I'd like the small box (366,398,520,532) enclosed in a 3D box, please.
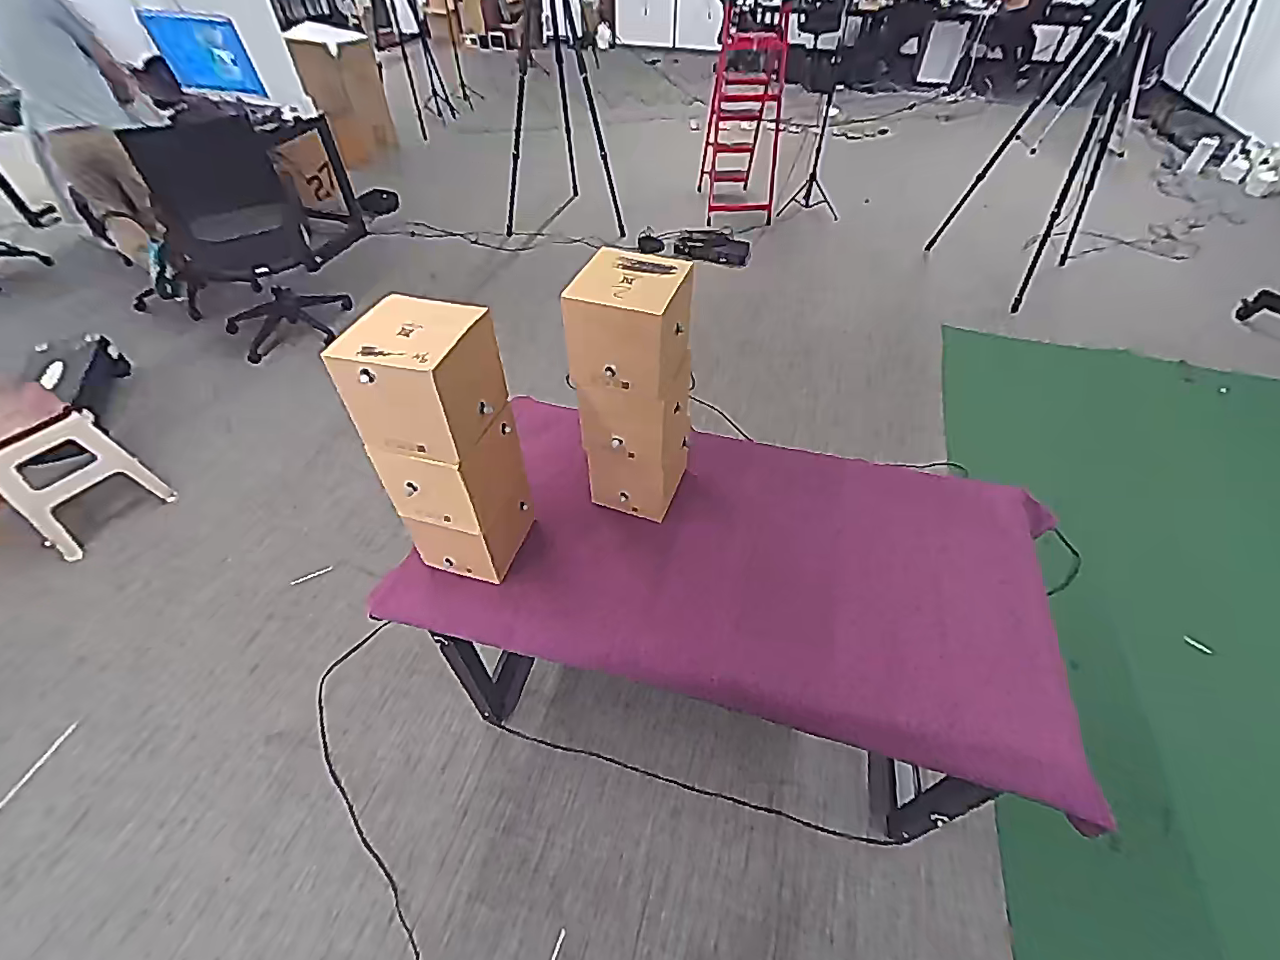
[{"bbox_3d":[-0.323,-0.036,0.933,0.168,0.176,0.179,12,47,12],"label":"small box"}]

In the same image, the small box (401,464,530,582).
[{"bbox_3d":[-0.325,0.069,1.056,0.168,0.176,0.179,12,48,11],"label":"small box"}]

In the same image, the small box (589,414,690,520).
[{"bbox_3d":[-0.001,-0.045,1.161,0.168,0.176,0.179,16,50,14],"label":"small box"}]

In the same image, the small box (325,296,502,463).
[{"bbox_3d":[-0.322,-0.153,0.817,0.168,0.176,0.179,10,46,10],"label":"small box"}]

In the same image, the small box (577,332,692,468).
[{"bbox_3d":[-0.008,-0.153,1.038,0.168,0.176,0.179,14,50,13],"label":"small box"}]
